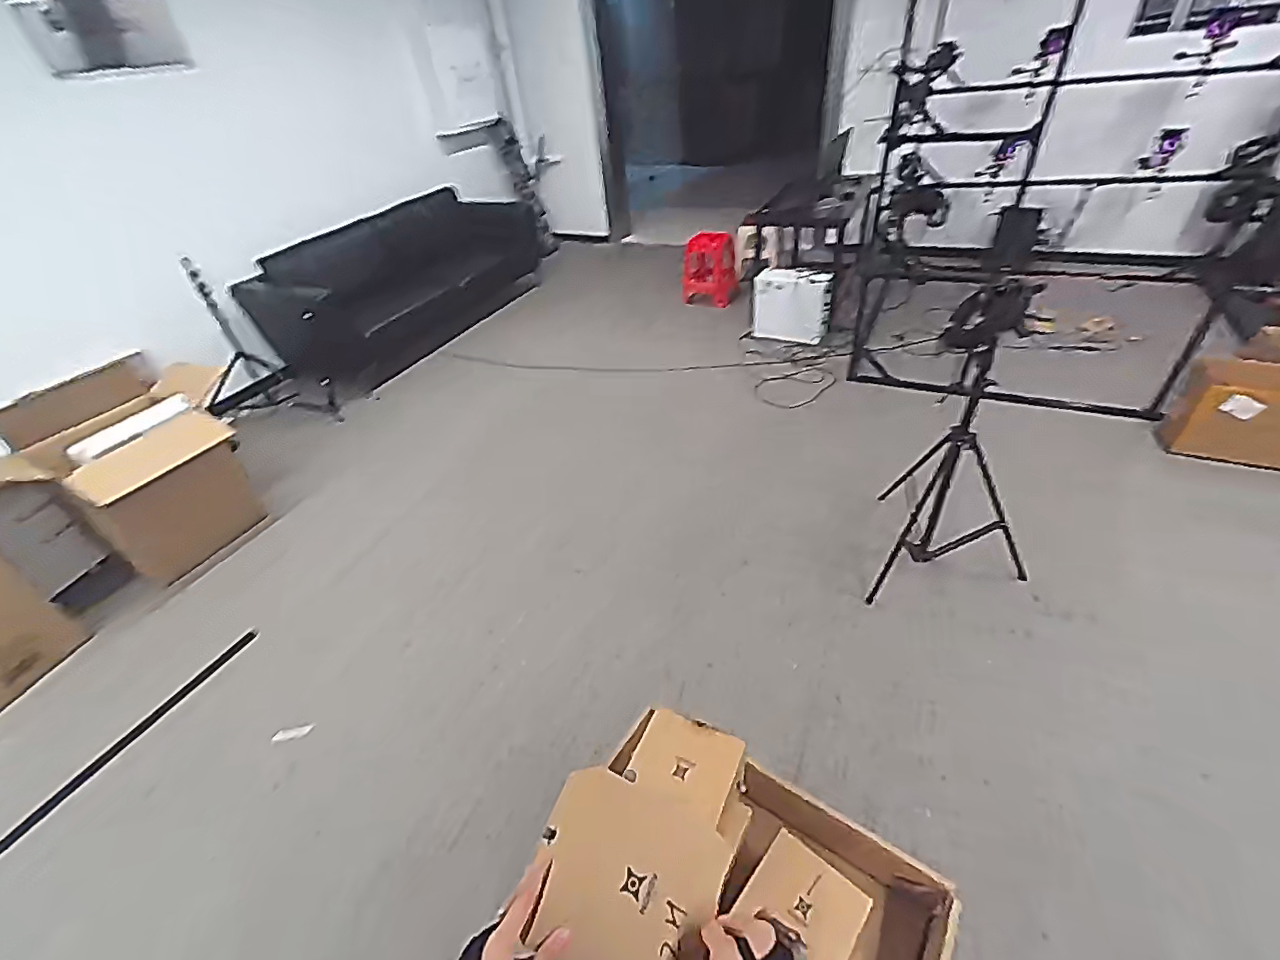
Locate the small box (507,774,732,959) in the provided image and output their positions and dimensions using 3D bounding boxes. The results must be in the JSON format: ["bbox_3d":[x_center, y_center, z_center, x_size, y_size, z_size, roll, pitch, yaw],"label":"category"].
[{"bbox_3d":[-0.030,0.460,0.607,0.179,0.176,0.168,31,54,-1],"label":"small box"}]

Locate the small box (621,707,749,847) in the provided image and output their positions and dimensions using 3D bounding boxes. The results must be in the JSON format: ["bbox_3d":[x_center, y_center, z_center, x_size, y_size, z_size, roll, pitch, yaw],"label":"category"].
[{"bbox_3d":[0.075,0.533,0.920,0.168,0.176,0.179,14,42,24],"label":"small box"}]
